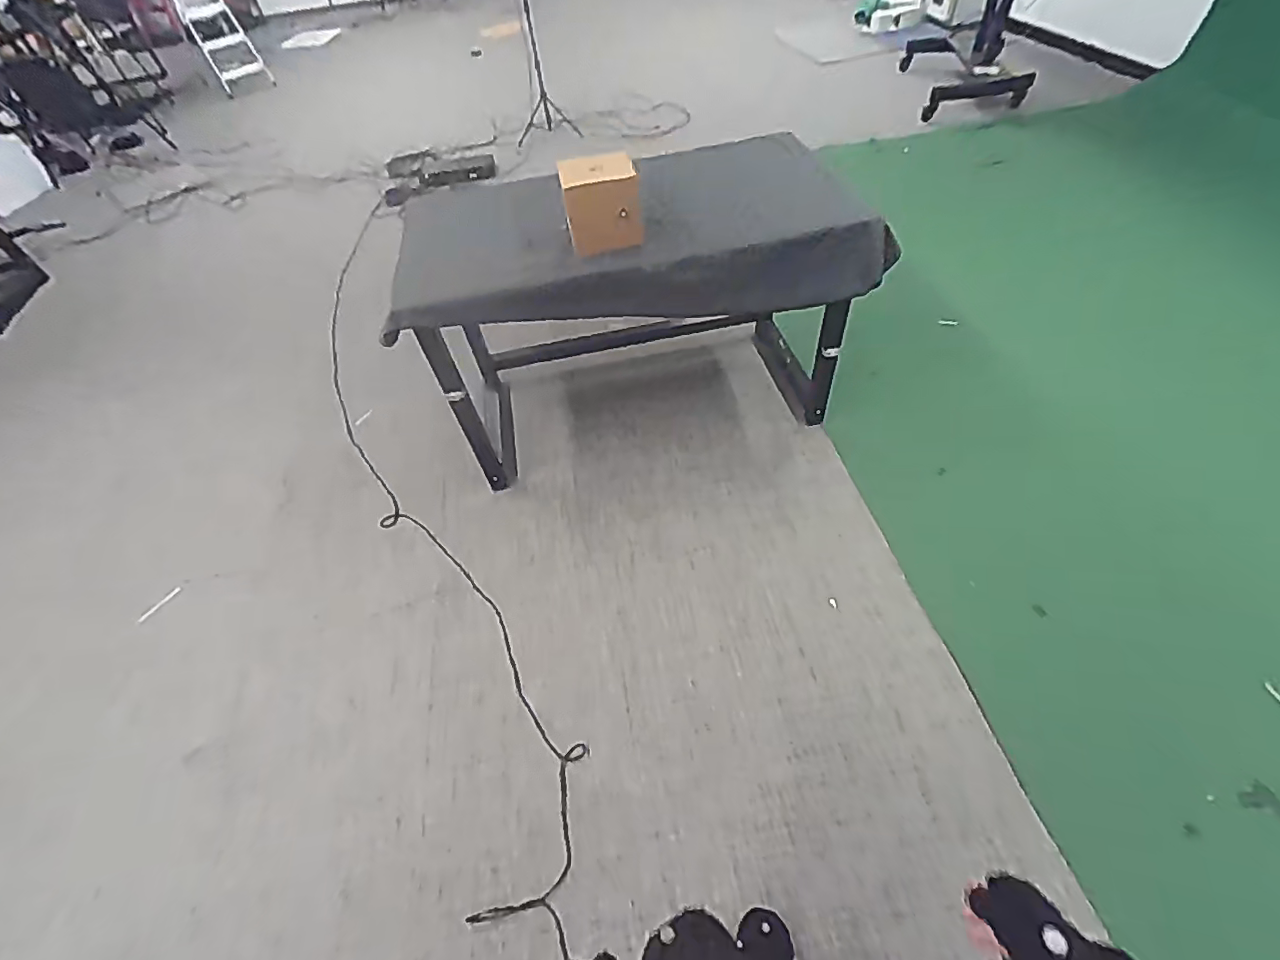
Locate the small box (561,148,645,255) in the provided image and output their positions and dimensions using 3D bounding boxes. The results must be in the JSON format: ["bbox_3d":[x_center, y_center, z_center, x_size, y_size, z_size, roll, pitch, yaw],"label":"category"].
[{"bbox_3d":[-0.088,-0.686,1.337,0.179,0.176,0.168,-13,50,-2],"label":"small box"}]
